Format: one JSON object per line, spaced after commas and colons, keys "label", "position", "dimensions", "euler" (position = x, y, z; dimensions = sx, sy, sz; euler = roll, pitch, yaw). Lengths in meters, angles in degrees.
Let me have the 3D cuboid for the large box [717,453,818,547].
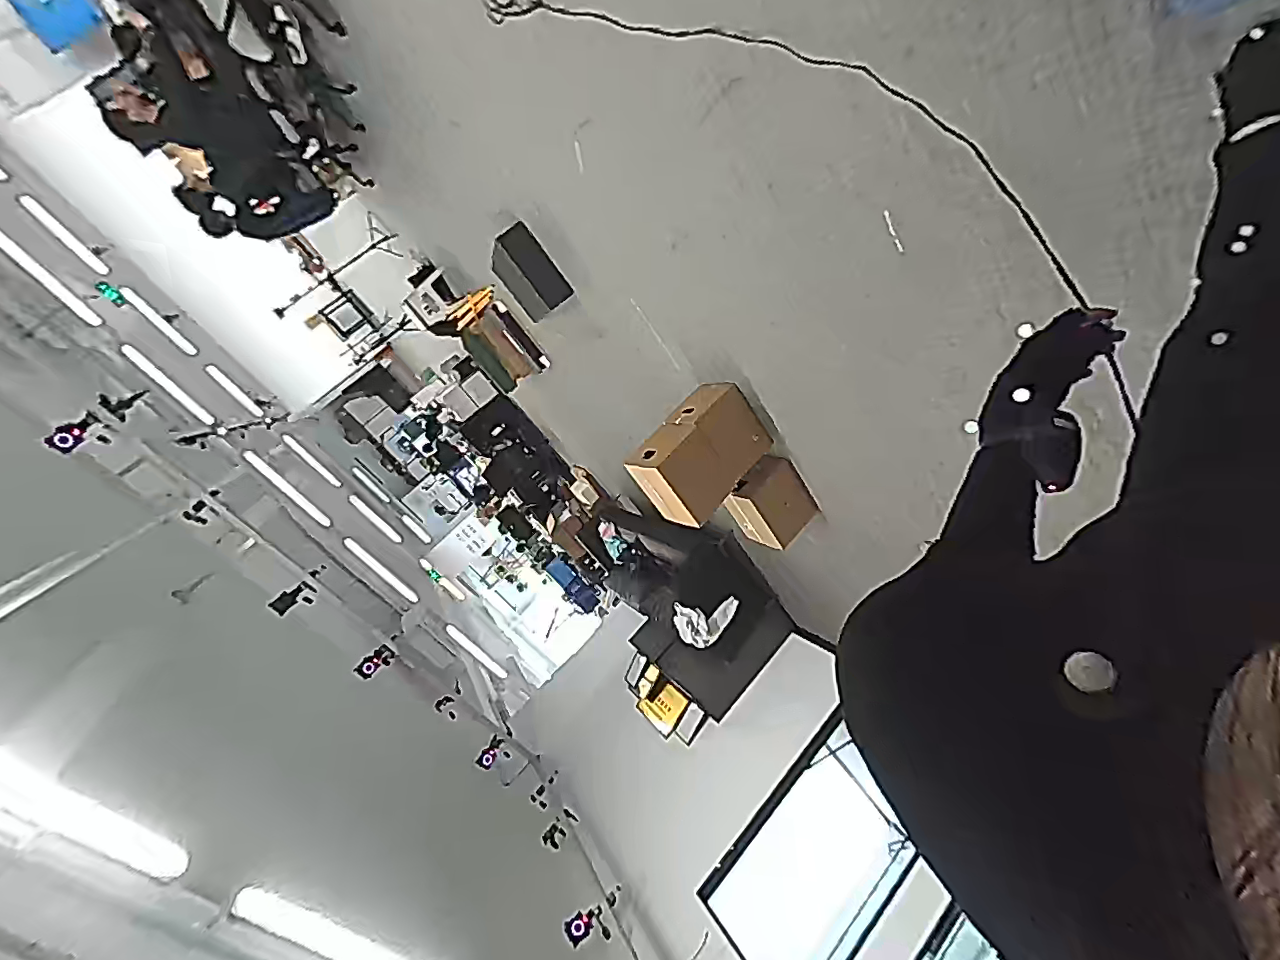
{"label": "large box", "position": [0.708, 0.099, 2.990], "dimensions": [0.408, 0.320, 0.320], "euler": [51, 165, -25]}
